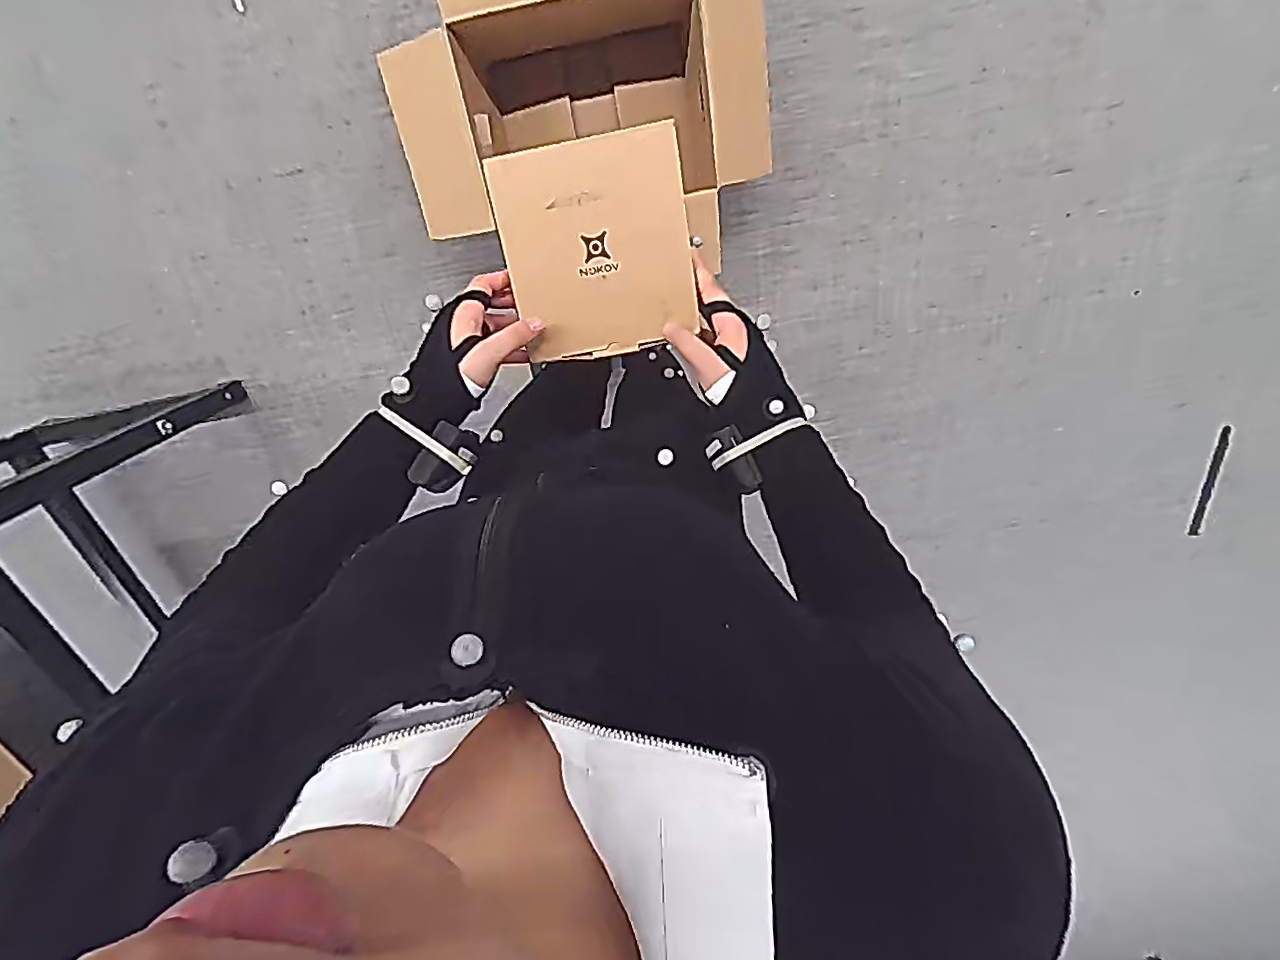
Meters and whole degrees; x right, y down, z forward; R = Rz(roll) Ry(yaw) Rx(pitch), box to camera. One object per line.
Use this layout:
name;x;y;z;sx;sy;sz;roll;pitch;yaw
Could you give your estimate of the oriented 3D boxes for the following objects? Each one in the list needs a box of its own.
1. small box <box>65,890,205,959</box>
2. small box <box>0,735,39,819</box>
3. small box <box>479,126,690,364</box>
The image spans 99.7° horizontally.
small box;-1.112;1.026;1.167;0.179;0.176;0.168;-11;117;5
small box;-1.212;0.536;0.915;0.168;0.176;0.179;-8;118;4
small box;-0.040;-0.232;0.559;0.168;0.176;0.179;-9;110;6
